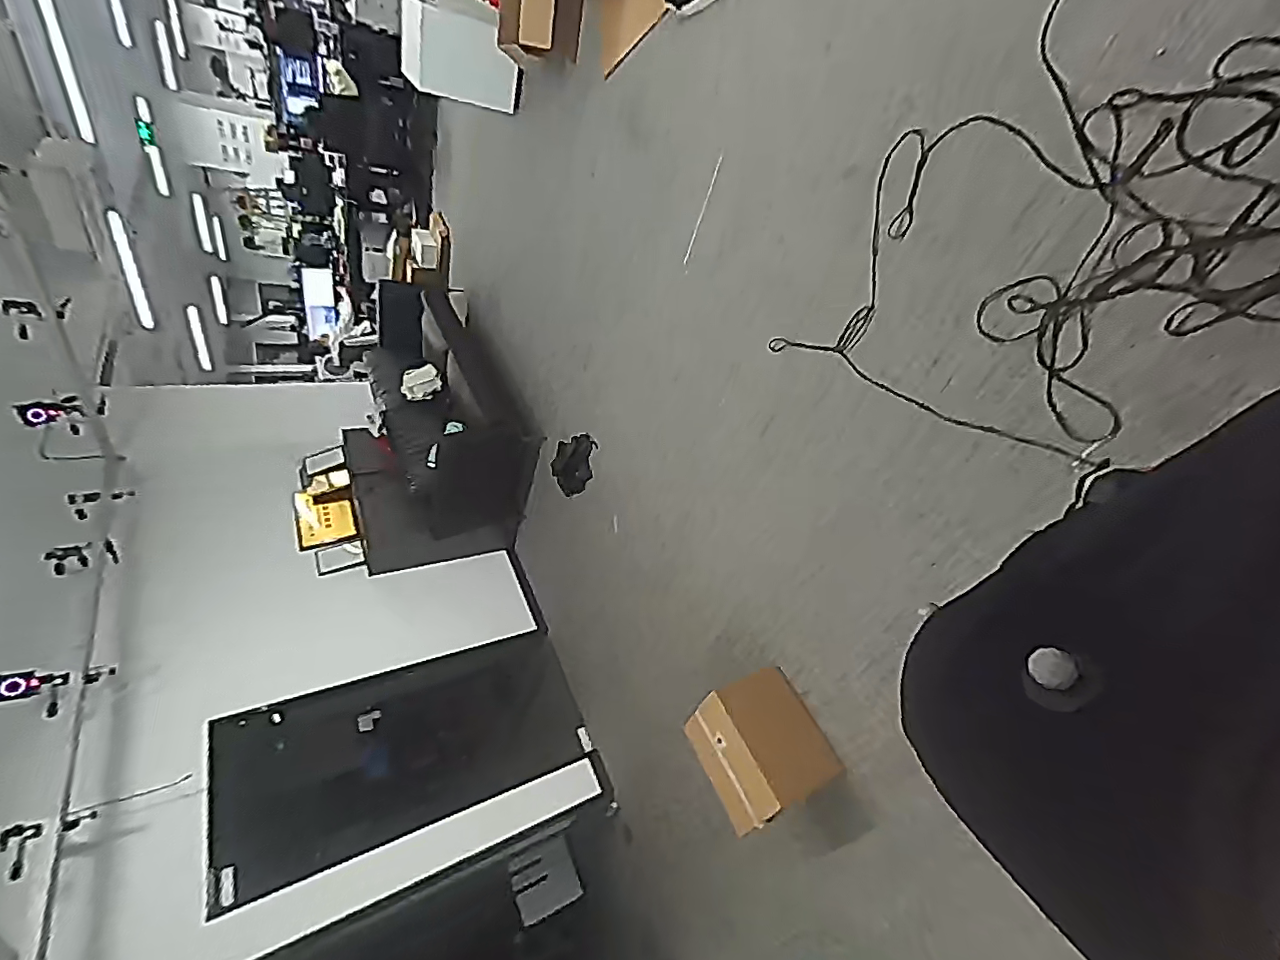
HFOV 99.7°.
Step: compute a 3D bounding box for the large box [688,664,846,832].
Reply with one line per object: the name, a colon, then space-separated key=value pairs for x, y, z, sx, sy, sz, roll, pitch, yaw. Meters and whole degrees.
large box: x=0.440 y=0.943 z=1.935 sx=0.408 sy=0.320 sz=0.320 roll=58 pitch=141 yaw=36
